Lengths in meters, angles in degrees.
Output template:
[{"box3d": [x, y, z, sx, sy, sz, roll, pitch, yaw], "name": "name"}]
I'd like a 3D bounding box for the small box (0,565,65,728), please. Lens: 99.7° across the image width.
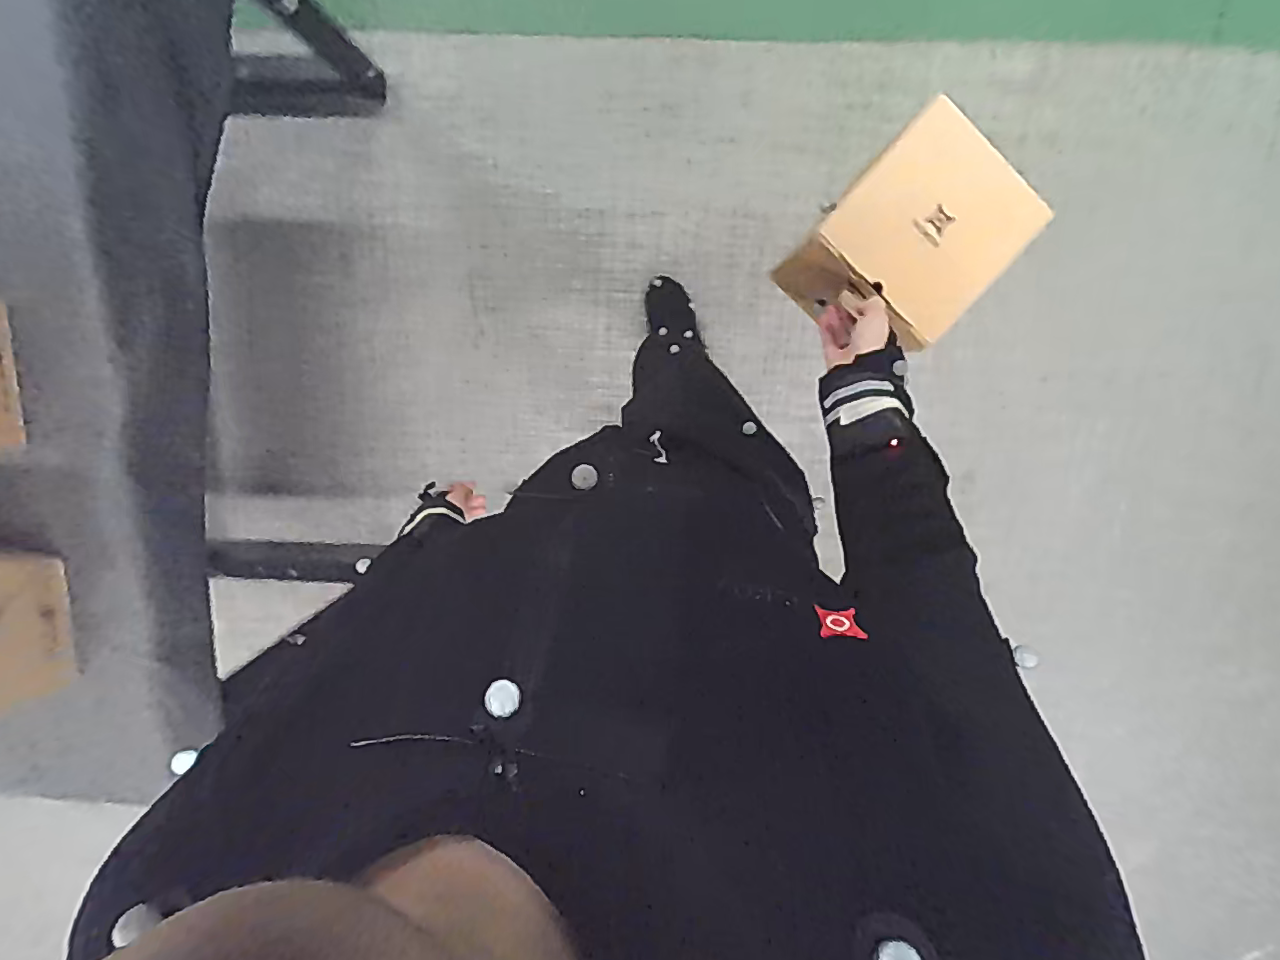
[{"box3d": [-0.781, 0.191, 0.580, 0.179, 0.176, 0.168, 5, 100, 3], "name": "small box"}]
